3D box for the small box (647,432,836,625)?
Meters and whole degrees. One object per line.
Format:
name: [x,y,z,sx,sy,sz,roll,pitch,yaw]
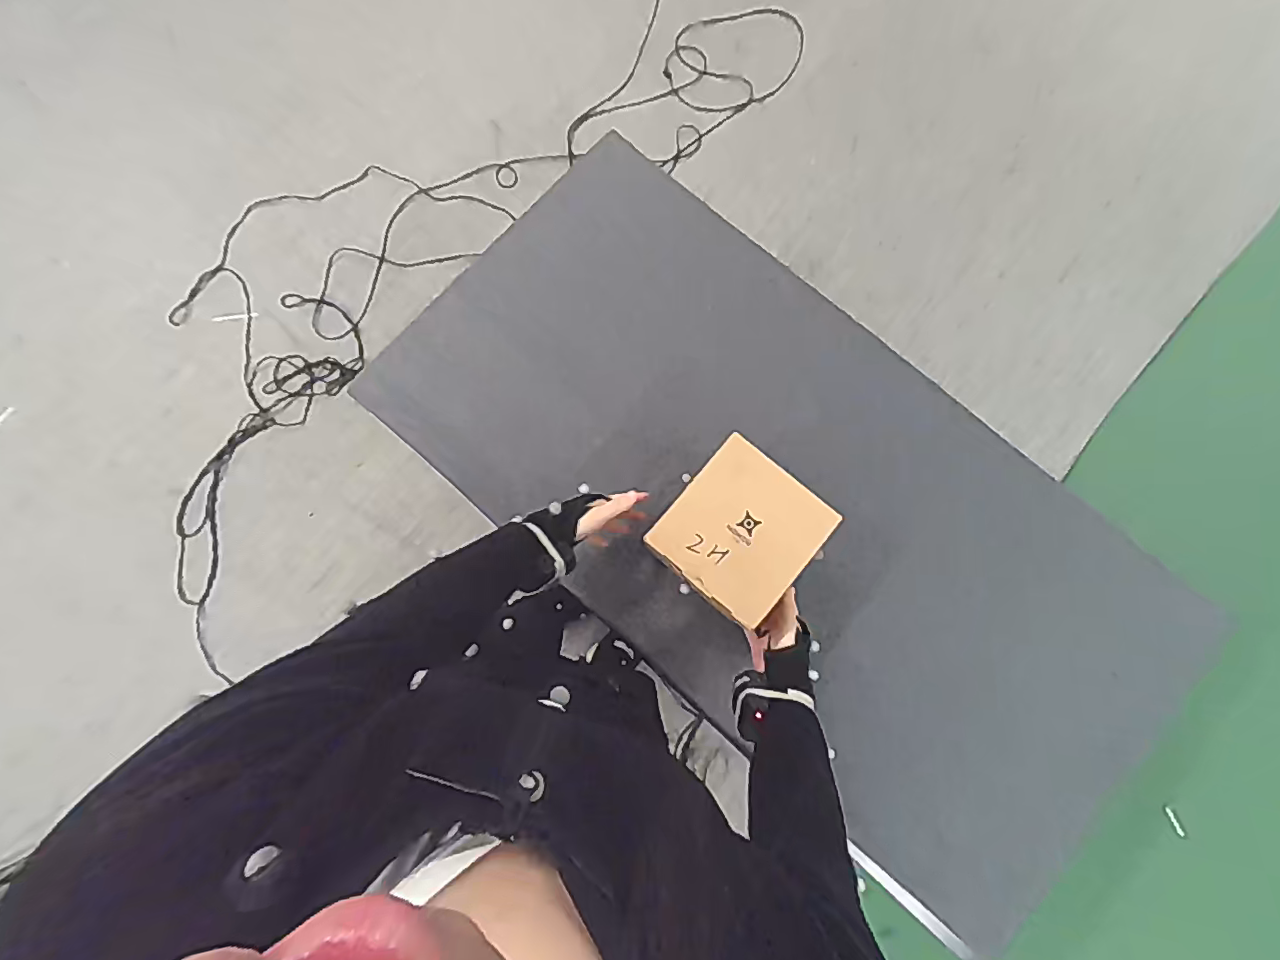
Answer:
small box: [0.120,0.067,0.724,0.168,0.176,0.179,40,83,7]
